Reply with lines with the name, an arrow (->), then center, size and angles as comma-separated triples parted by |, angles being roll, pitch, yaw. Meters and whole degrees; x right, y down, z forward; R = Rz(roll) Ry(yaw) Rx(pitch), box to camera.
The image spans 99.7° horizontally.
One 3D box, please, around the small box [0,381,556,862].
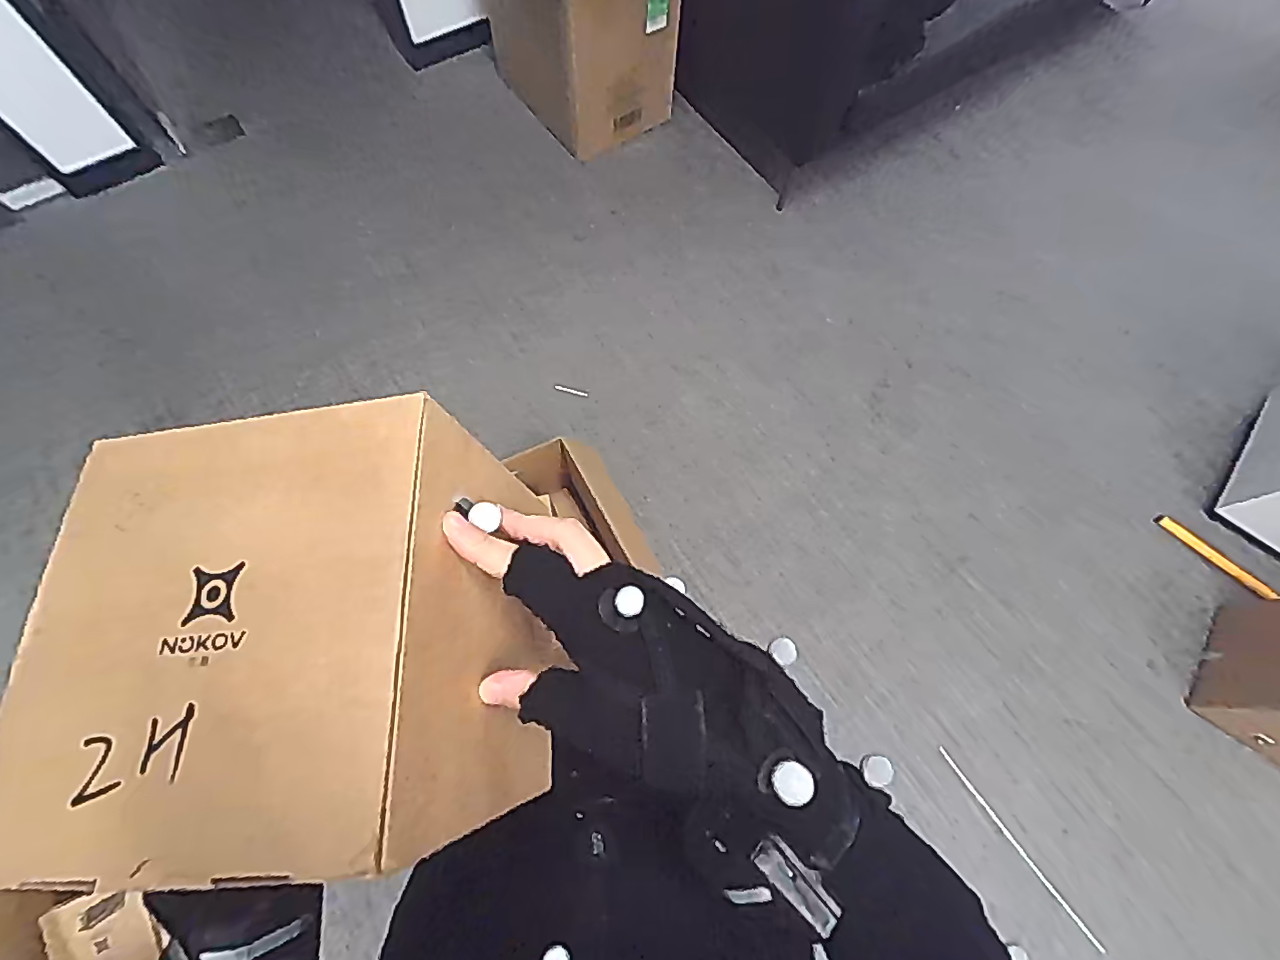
small box -> -0.147, 0.073, 0.284 | 0.168, 0.176, 0.179 | -6, 69, 7
